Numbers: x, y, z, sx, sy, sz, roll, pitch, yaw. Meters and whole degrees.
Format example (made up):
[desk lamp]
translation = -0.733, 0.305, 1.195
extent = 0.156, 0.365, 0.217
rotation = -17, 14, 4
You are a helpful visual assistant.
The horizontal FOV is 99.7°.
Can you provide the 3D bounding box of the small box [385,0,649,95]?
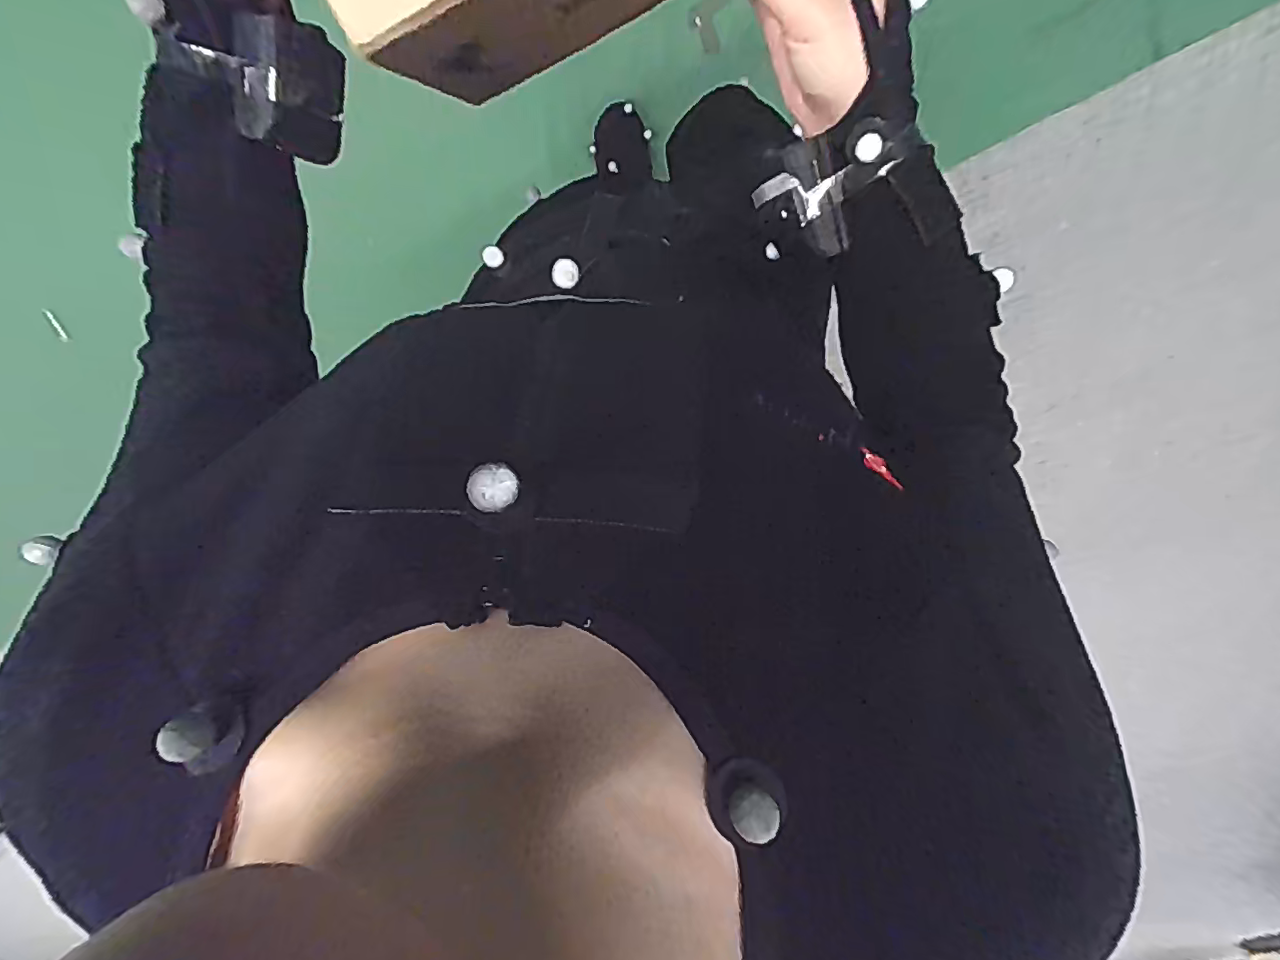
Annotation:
[small box]
translation = -0.048, -0.291, 0.205
extent = 0.179, 0.168, 0.176
rotation = -23, 117, 11
